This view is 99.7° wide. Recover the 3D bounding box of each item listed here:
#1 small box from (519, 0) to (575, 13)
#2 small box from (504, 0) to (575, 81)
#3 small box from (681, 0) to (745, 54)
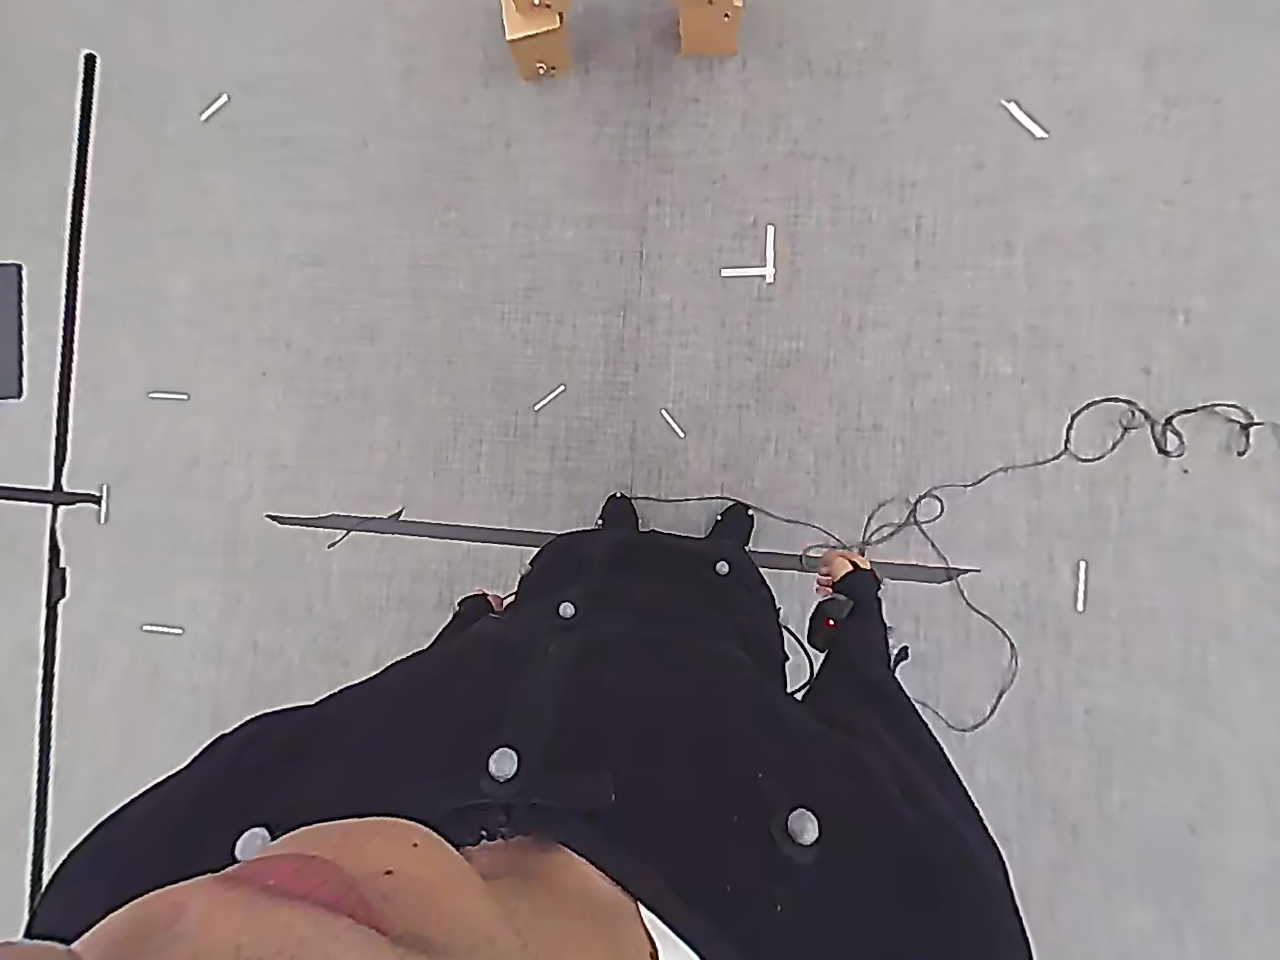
[{"bbox_3d":[-0.268,-1.428,1.469,0.168,0.176,0.179,7,89,9],"label":"small box"},{"bbox_3d":[-0.301,-1.368,1.637,0.168,0.176,0.179,-8,88,8],"label":"small box"},{"bbox_3d":[0.215,-1.382,1.569,0.179,0.176,0.168,4,89,7],"label":"small box"}]
